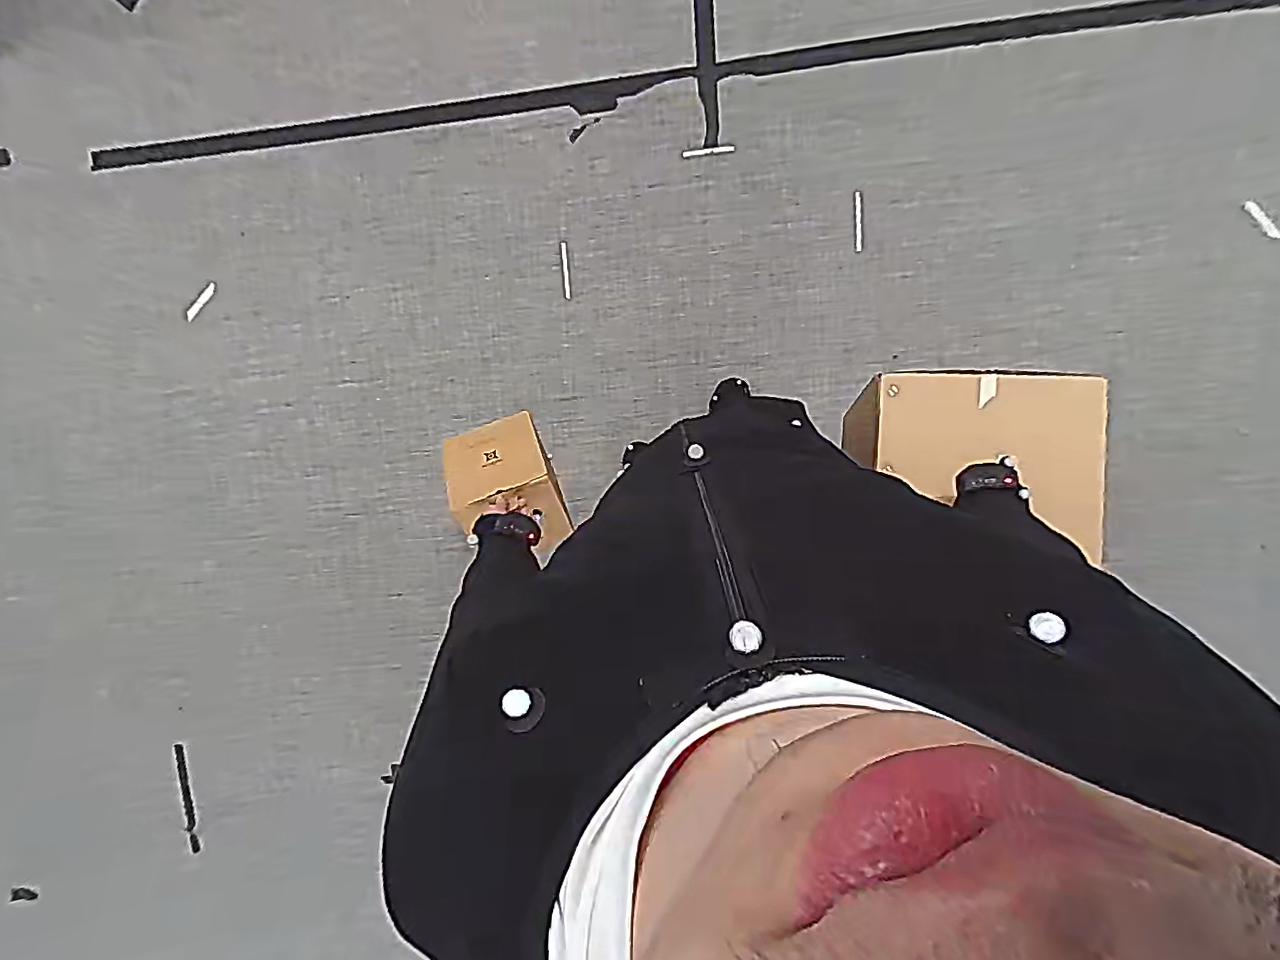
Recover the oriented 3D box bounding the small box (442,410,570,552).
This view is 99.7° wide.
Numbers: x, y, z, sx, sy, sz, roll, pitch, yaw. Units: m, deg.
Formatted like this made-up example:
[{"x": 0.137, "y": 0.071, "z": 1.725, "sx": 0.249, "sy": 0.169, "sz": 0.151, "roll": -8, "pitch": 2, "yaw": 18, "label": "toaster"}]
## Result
[{"x": -0.239, "y": 0.009, "z": 0.983, "sx": 0.168, "sy": 0.179, "sz": 0.176, "roll": -21, "pitch": 139, "yaw": -7, "label": "small box"}]
